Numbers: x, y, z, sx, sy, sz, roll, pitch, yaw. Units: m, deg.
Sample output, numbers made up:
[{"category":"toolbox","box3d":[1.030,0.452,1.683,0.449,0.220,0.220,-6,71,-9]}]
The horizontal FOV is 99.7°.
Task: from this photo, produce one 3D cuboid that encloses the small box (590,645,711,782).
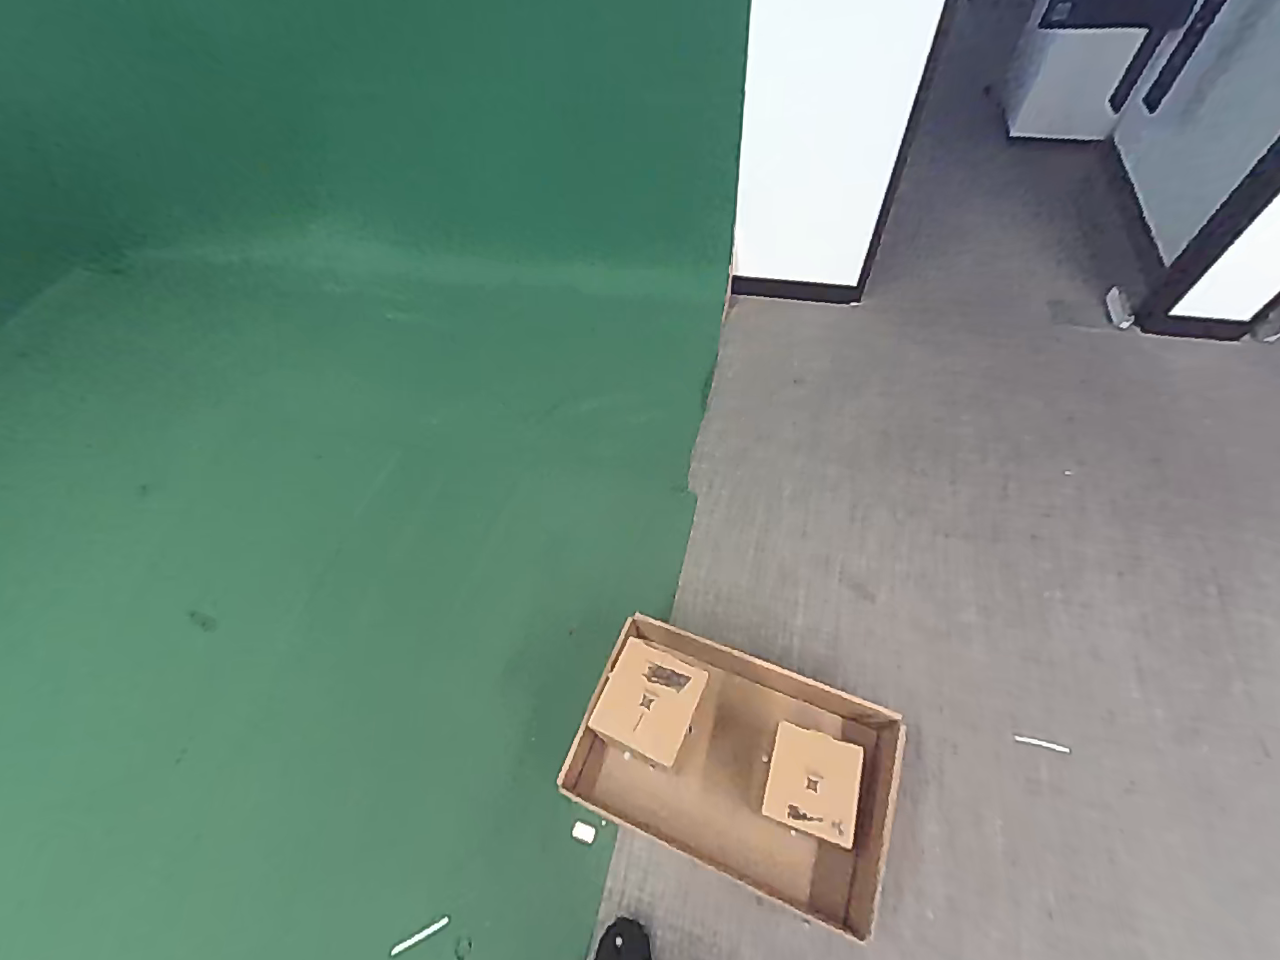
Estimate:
[{"category":"small box","box3d":[0.024,0.449,1.033,0.168,0.176,0.179,21,62,16]}]
